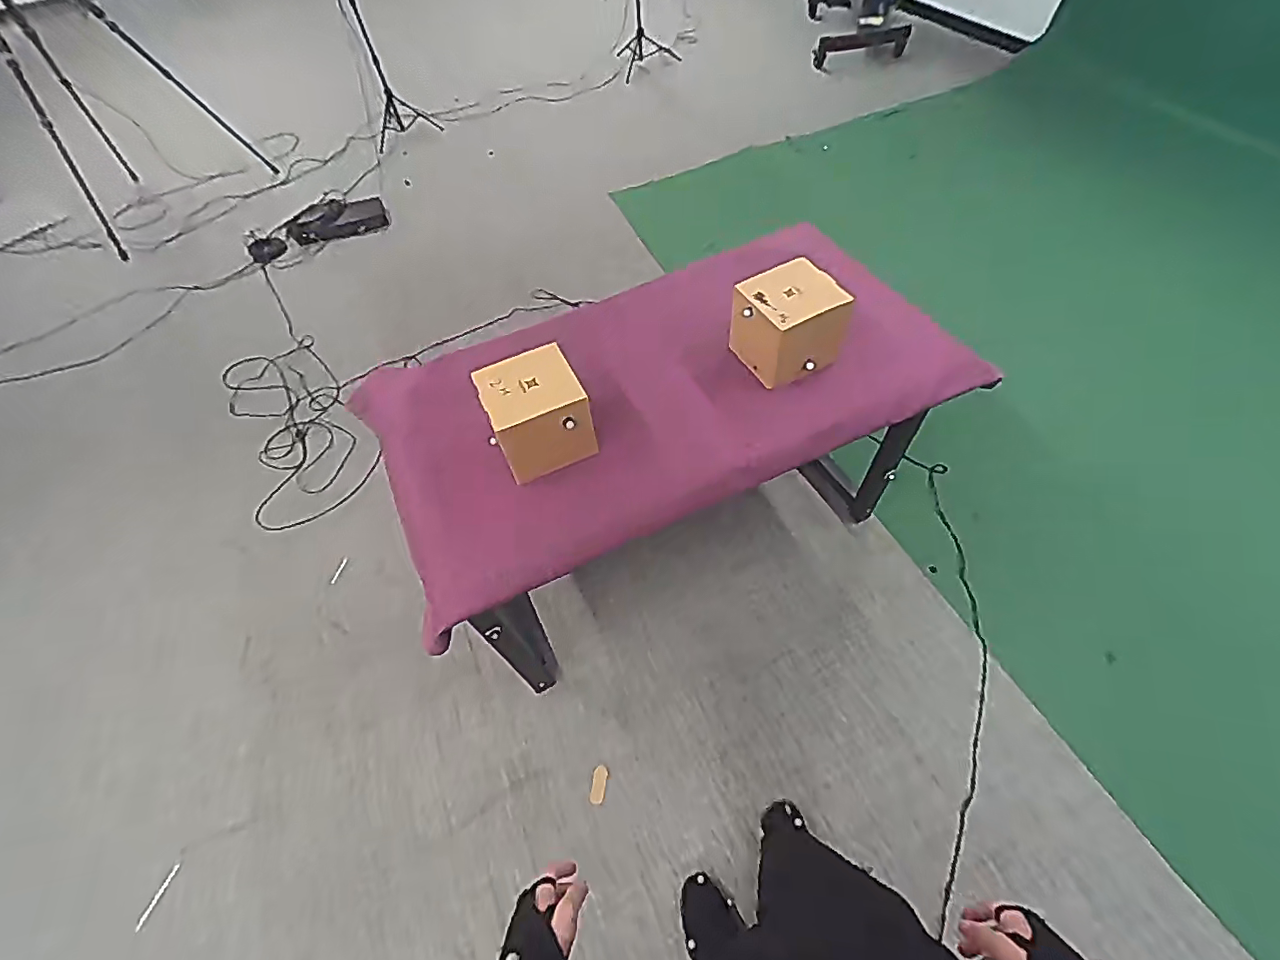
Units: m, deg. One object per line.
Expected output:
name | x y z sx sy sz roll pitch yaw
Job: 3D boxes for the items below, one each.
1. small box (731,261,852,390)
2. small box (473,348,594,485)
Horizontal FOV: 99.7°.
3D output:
small box | 0.309 -0.324 1.147 0.179 0.176 0.168 -25 57 -11
small box | -0.199 -0.121 1.057 0.179 0.176 0.168 -24 57 -11
